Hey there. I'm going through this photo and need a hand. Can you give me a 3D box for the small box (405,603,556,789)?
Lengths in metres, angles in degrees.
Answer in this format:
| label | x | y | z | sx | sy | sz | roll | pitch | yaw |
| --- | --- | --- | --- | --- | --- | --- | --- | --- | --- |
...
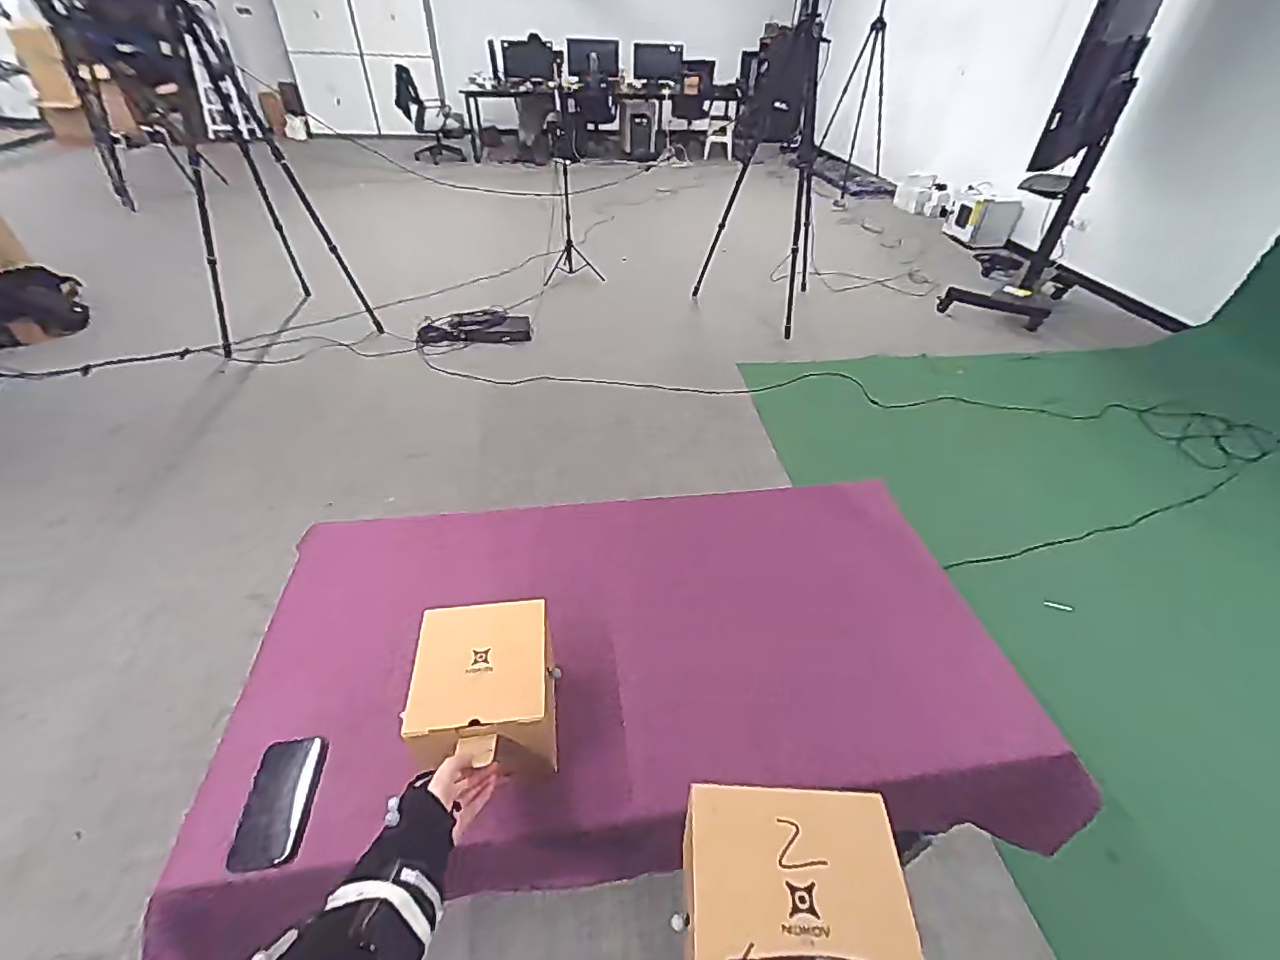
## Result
| label | x | y | z | sx | sy | sz | roll | pitch | yaw |
| --- | --- | --- | --- | --- | --- | --- | --- | --- | --- |
| small box | -0.206 | 0.297 | 0.750 | 0.168 | 0.176 | 0.179 | -4 | 42 | -7 |
